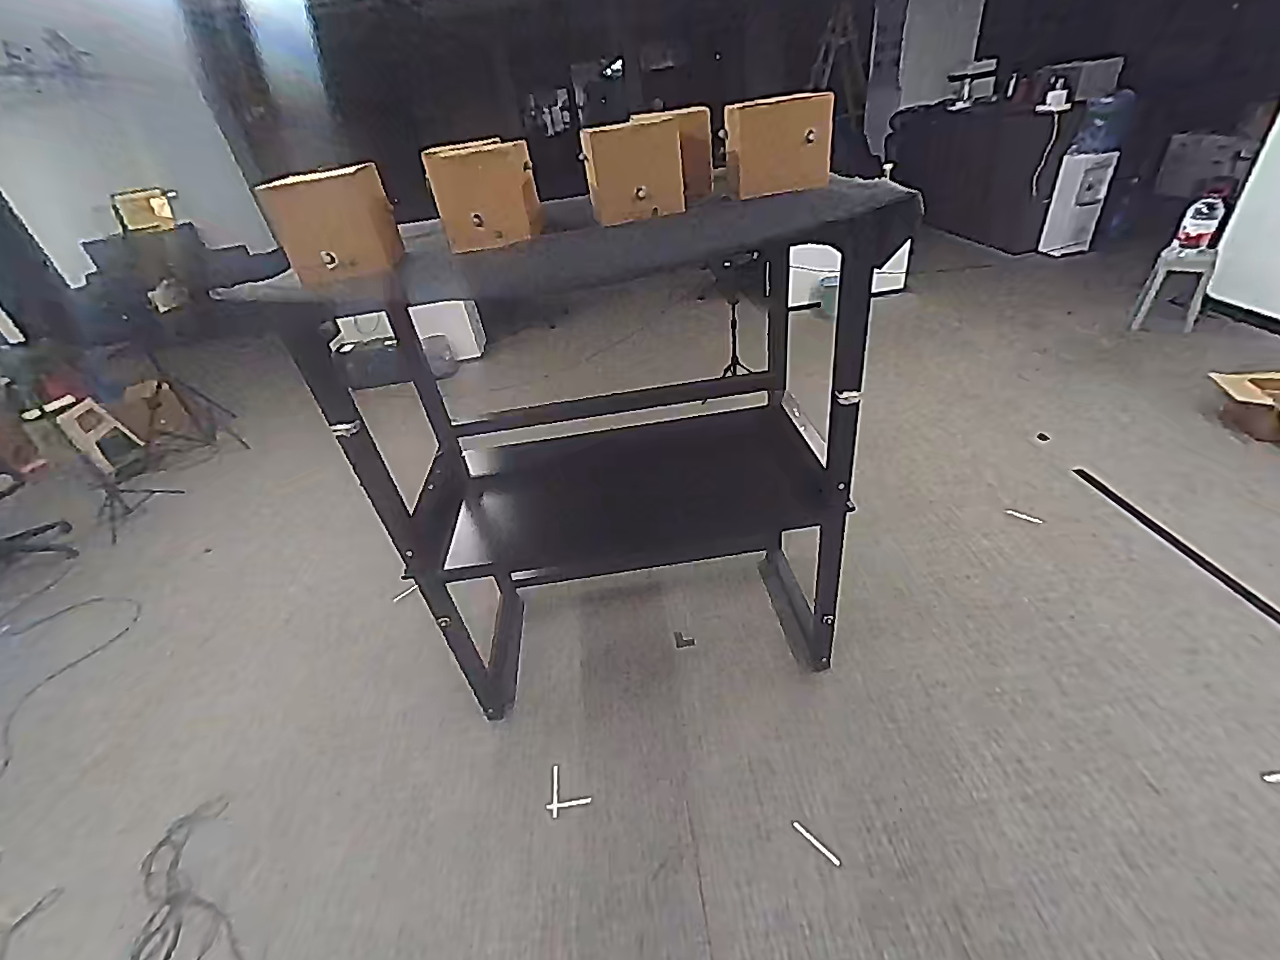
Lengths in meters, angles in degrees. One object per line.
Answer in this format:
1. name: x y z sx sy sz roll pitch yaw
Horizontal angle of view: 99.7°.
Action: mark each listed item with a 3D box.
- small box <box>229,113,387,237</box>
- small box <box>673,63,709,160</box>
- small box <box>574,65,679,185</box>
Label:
1. small box: -0.580 -0.551 0.978 0.168 0.176 0.179 -13 36 -4
2. small box: 0.061 -0.836 1.238 0.168 0.176 0.179 -9 36 1
3. small box: -0.028 -0.677 1.039 0.168 0.176 0.179 -12 36 -4
